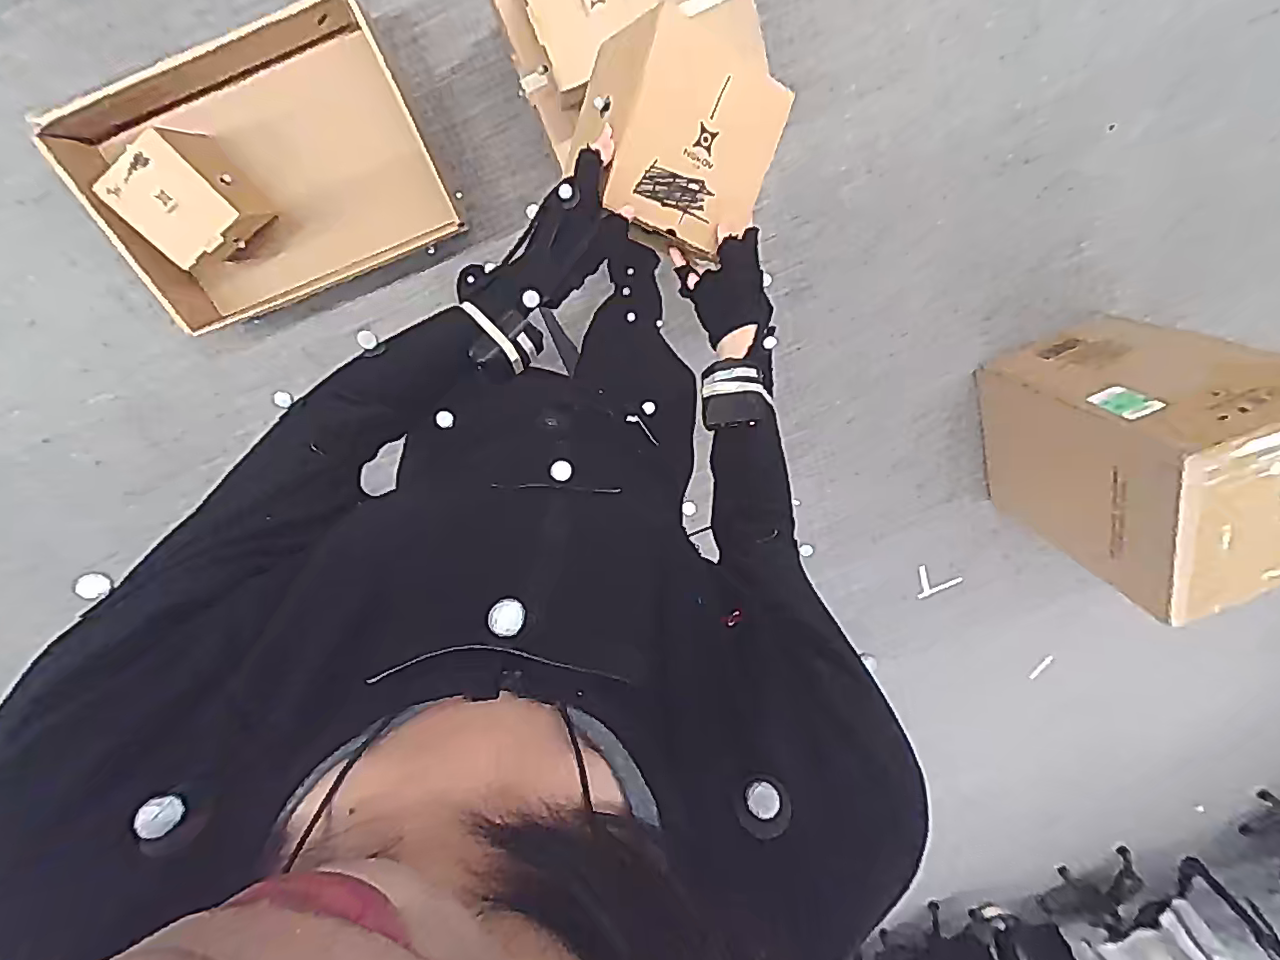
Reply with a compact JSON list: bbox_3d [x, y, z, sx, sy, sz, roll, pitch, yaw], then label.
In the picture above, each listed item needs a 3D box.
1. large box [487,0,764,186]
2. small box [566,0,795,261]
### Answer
[{"bbox_3d":[-0.033,-0.809,1.033,0.408,0.320,0.320,-24,119,2],"label":"large box"},{"bbox_3d":[0.031,-0.368,0.605,0.168,0.176,0.179,11,109,-31],"label":"small box"}]
